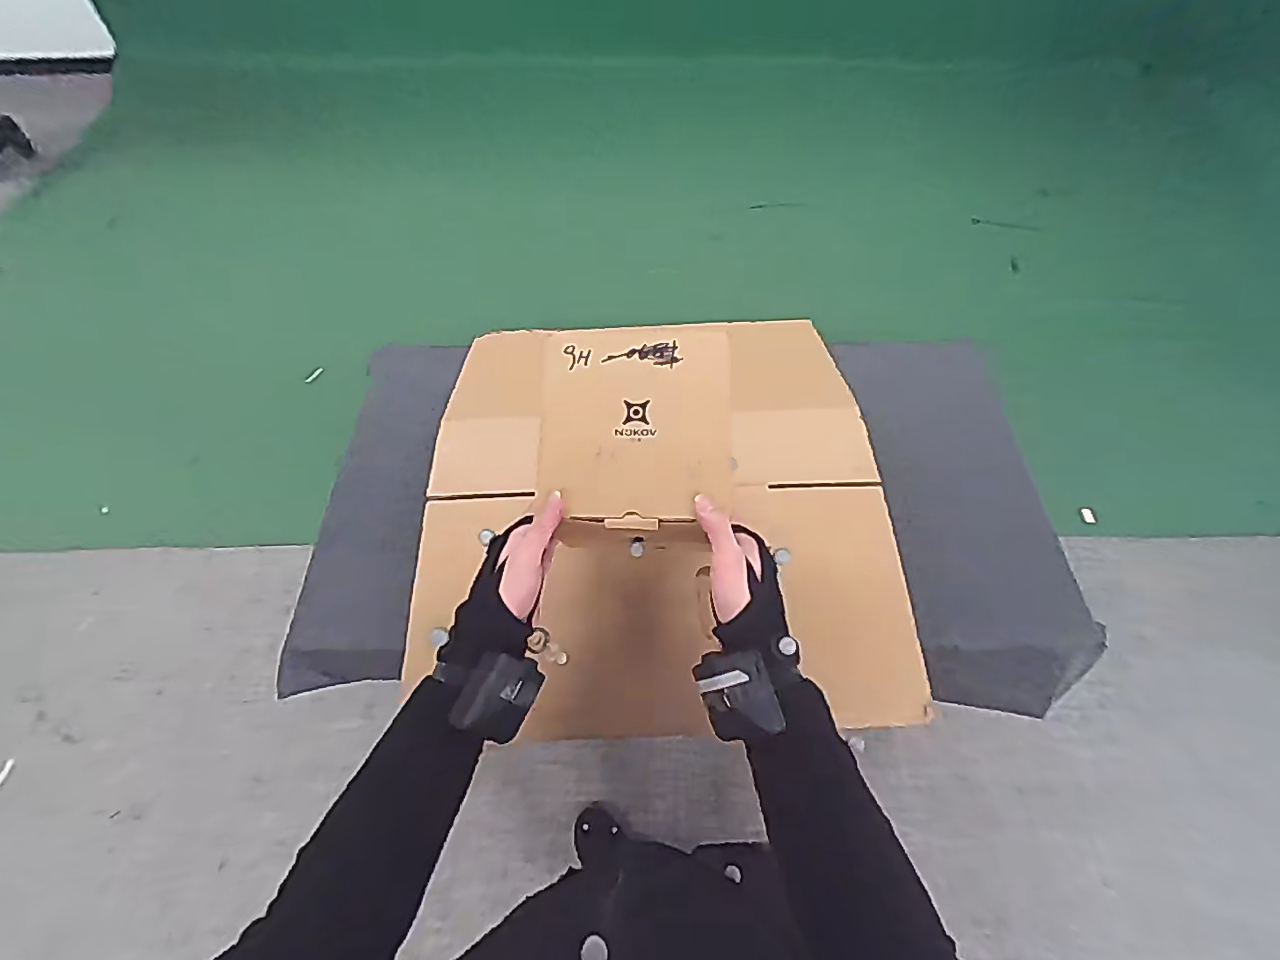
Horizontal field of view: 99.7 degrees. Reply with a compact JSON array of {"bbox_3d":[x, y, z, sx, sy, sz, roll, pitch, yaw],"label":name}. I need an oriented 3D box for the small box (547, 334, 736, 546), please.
[{"bbox_3d":[0.007,-0.027,0.554,0.168,0.176,0.179,-1,74,3],"label":"small box"}]
